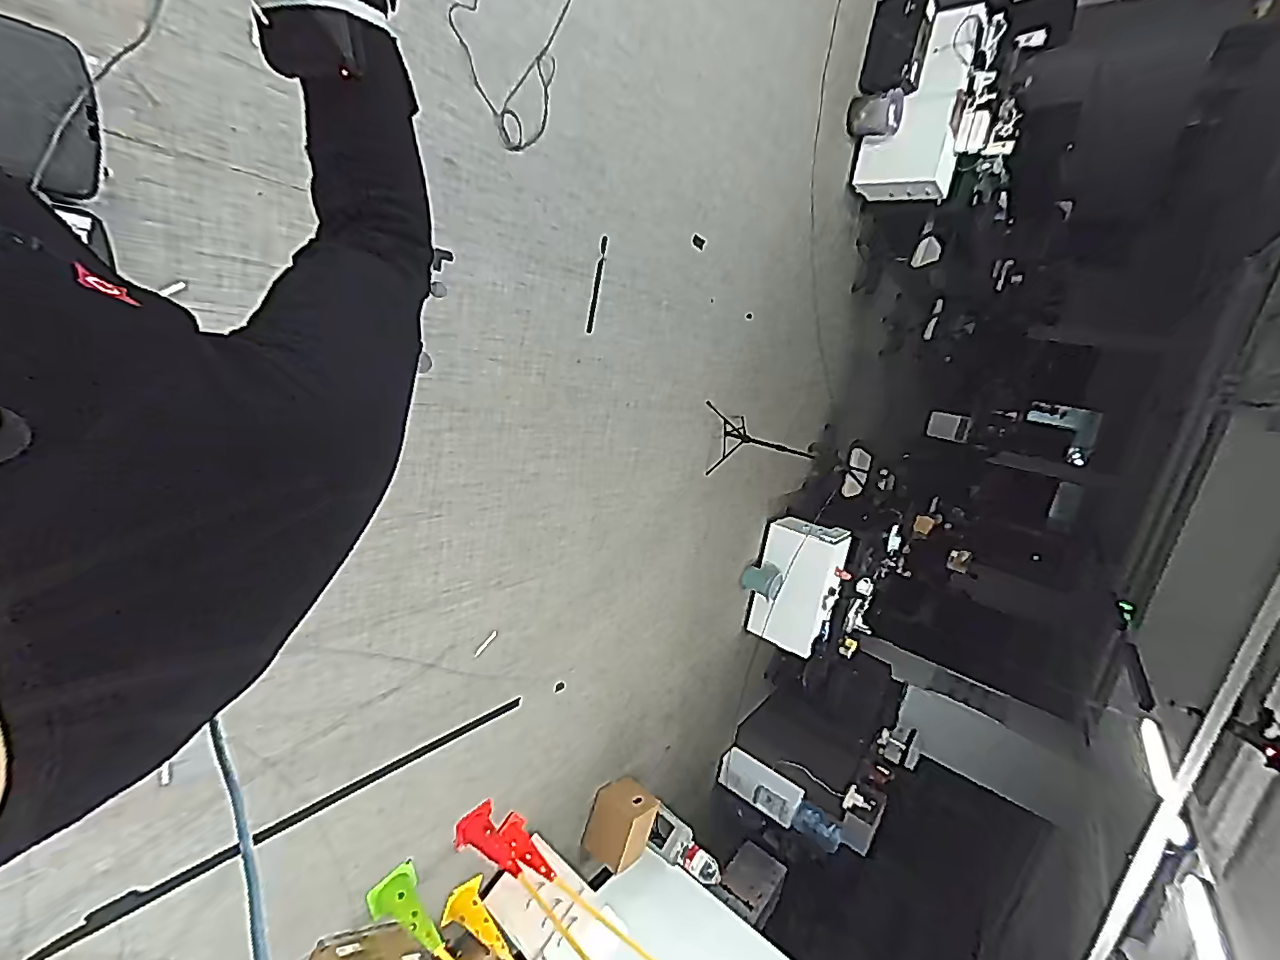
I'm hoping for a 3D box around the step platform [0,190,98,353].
[{"bbox_3d":[-1.325,-0.363,0.839,0.684,0.204,0.286,-11,114,-50],"label":"step platform"}]
